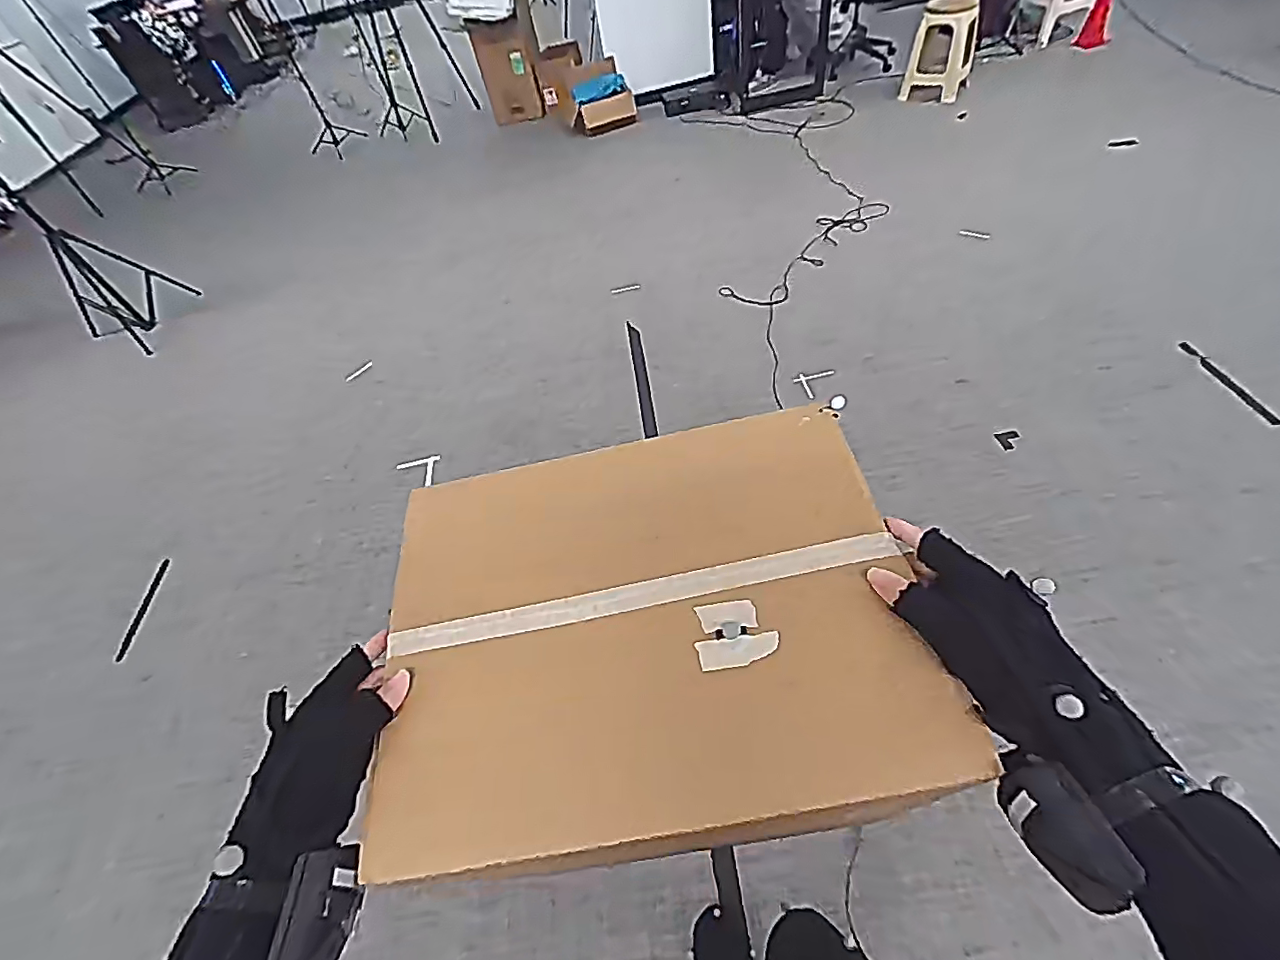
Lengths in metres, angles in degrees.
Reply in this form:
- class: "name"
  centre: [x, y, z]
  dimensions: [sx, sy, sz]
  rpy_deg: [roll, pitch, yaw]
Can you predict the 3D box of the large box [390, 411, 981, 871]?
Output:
- class: "large box"
  centre: [0.027, 0.180, 0.556]
  dimensions: [0.408, 0.320, 0.320]
  rpy_deg: [-12, 54, 3]
